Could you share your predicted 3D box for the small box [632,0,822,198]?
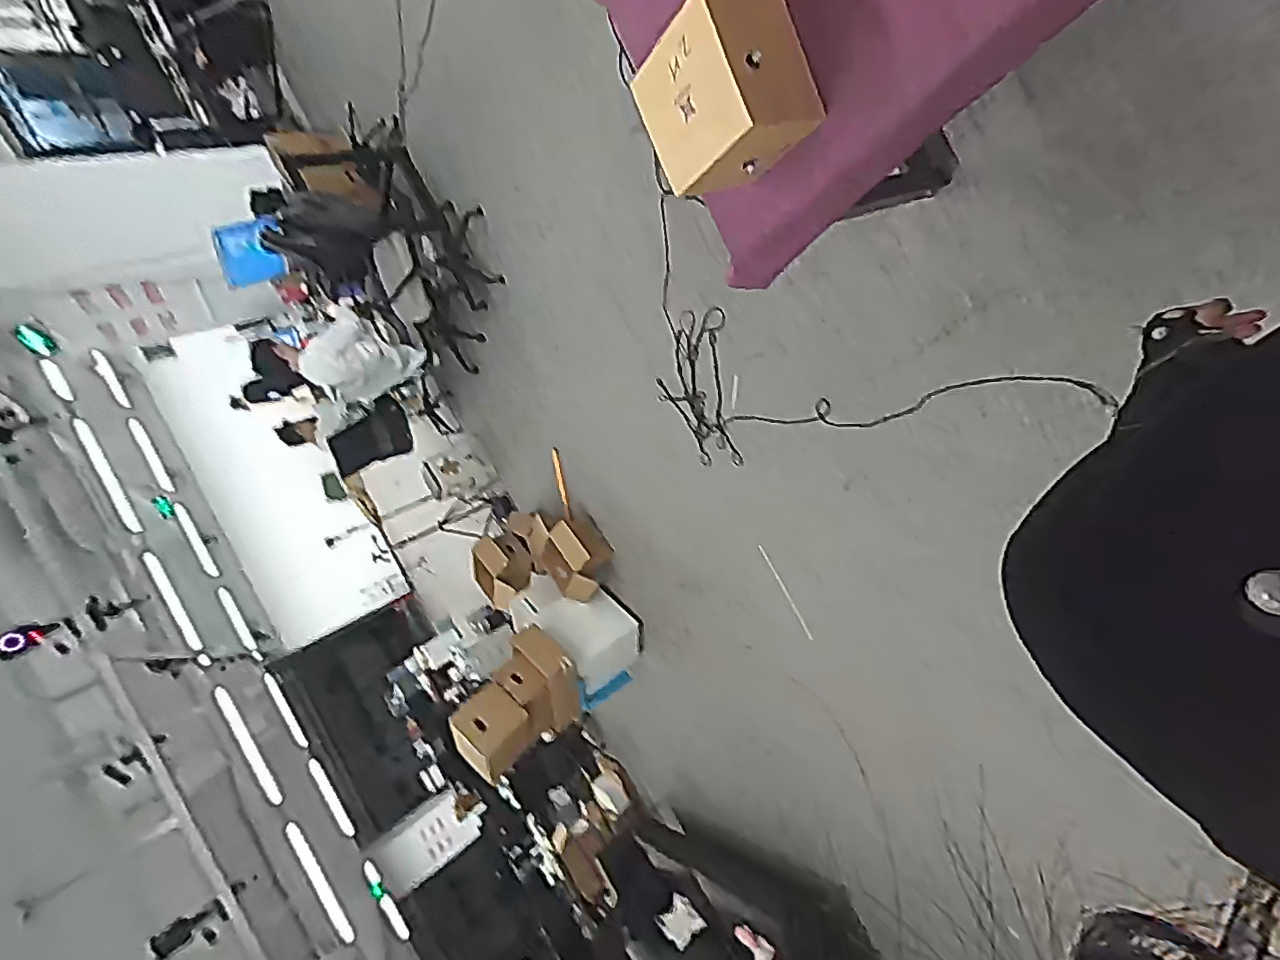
[{"bbox_3d":[0.125,-0.538,0.766,0.168,0.176,0.179,-14,102,57],"label":"small box"}]
